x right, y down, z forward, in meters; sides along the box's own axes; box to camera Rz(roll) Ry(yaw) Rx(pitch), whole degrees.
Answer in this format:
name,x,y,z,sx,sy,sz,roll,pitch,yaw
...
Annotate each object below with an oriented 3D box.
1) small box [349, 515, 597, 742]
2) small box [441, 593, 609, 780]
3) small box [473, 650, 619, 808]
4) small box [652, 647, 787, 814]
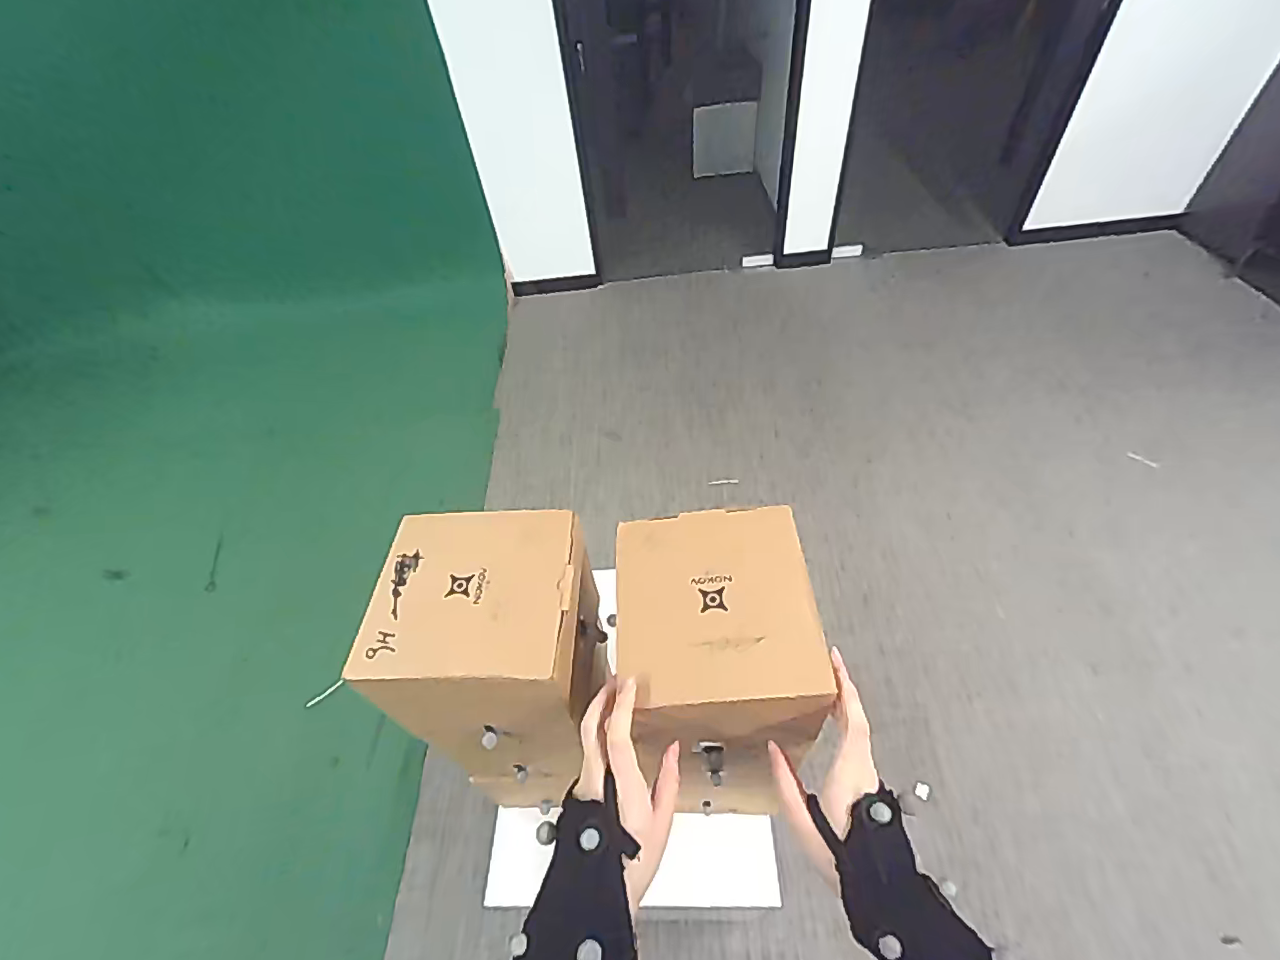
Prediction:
name,x,y,z,sx,sy,sz,roll,pitch,yaw
small box,-0.141,0.151,0.539,0.179,0.176,0.168,-1,49,4
small box,-0.132,0.252,0.668,0.168,0.176,0.179,-2,49,5
small box,-0.123,0.362,0.790,0.168,0.176,0.179,-3,50,4
small box,0.108,0.355,0.767,0.168,0.176,0.179,-3,50,6
